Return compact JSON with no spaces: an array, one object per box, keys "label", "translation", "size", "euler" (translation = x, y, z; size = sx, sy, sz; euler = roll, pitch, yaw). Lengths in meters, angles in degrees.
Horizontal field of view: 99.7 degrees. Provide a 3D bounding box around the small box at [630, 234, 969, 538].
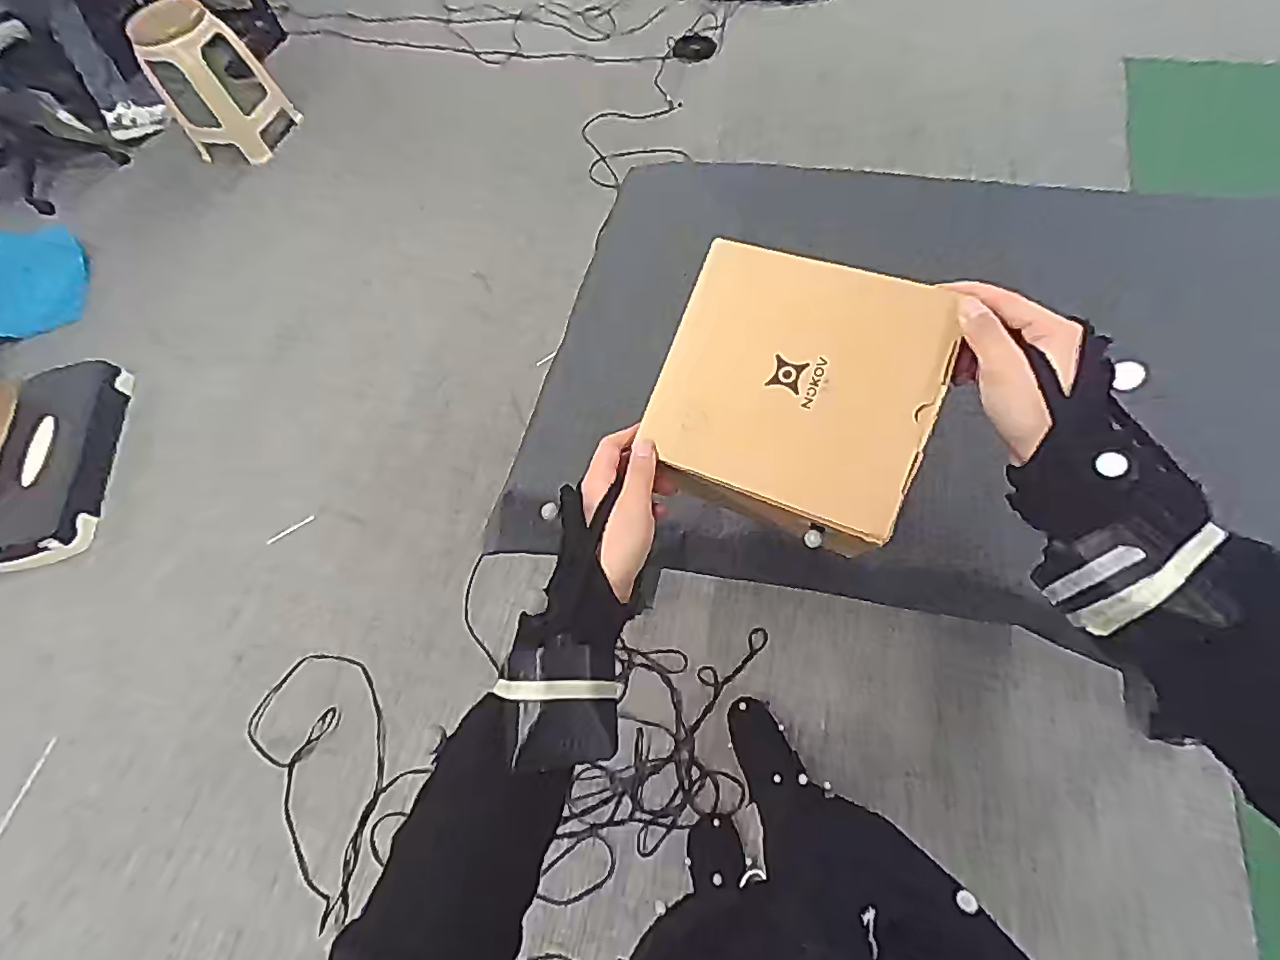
[{"label":"small box","translation":[0.117,-0.059,0.431],"size":[0.179,0.176,0.168],"euler":[20,85,16]}]
